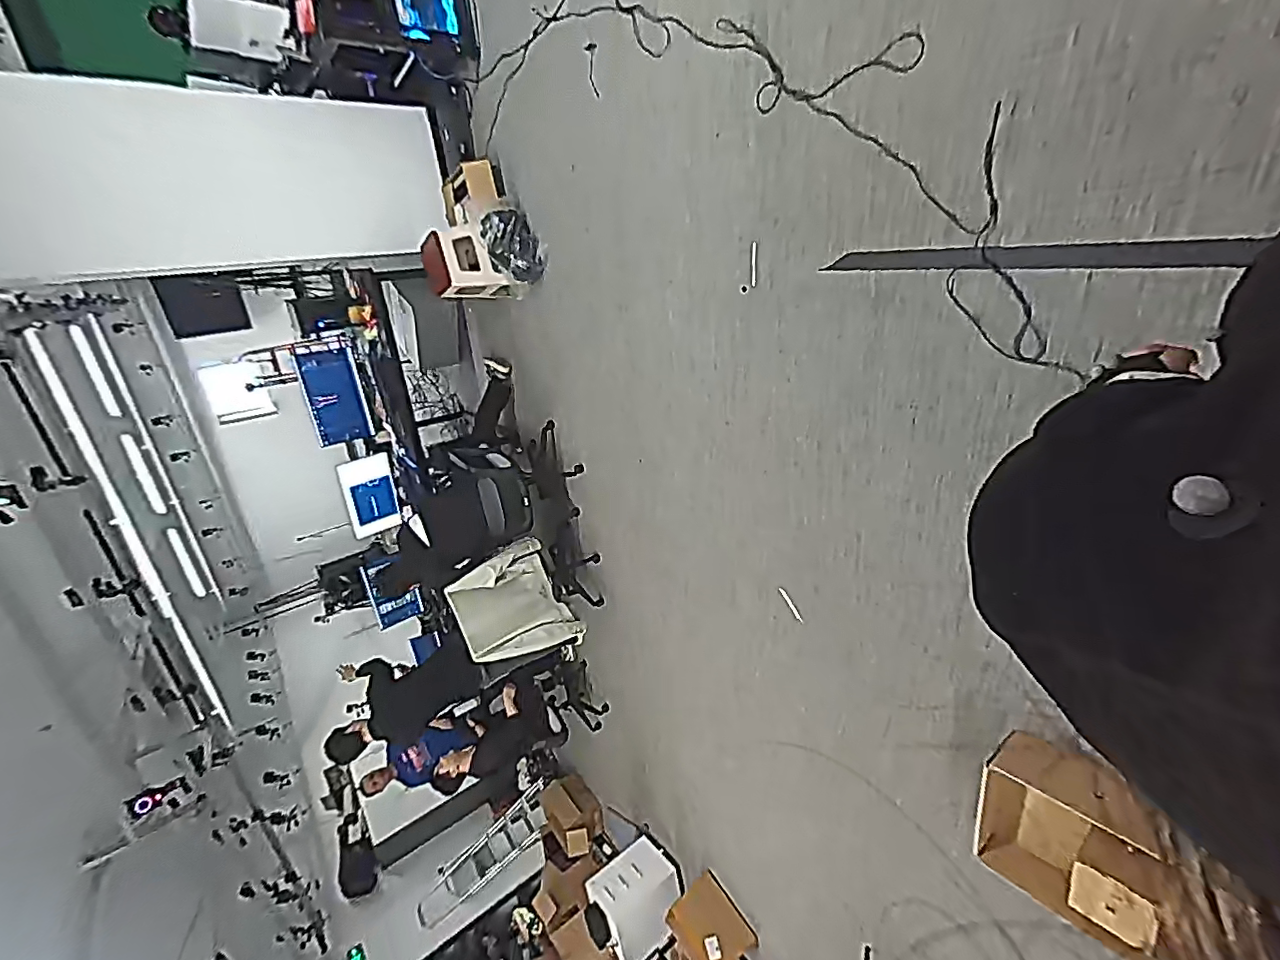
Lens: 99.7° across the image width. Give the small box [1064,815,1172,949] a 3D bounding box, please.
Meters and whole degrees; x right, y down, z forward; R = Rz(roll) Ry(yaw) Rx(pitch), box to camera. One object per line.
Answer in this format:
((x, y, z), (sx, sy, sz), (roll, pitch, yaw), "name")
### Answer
((1.218, 1.015, 1.380), (0.168, 0.176, 0.179), (15, 120, 50), "small box")
